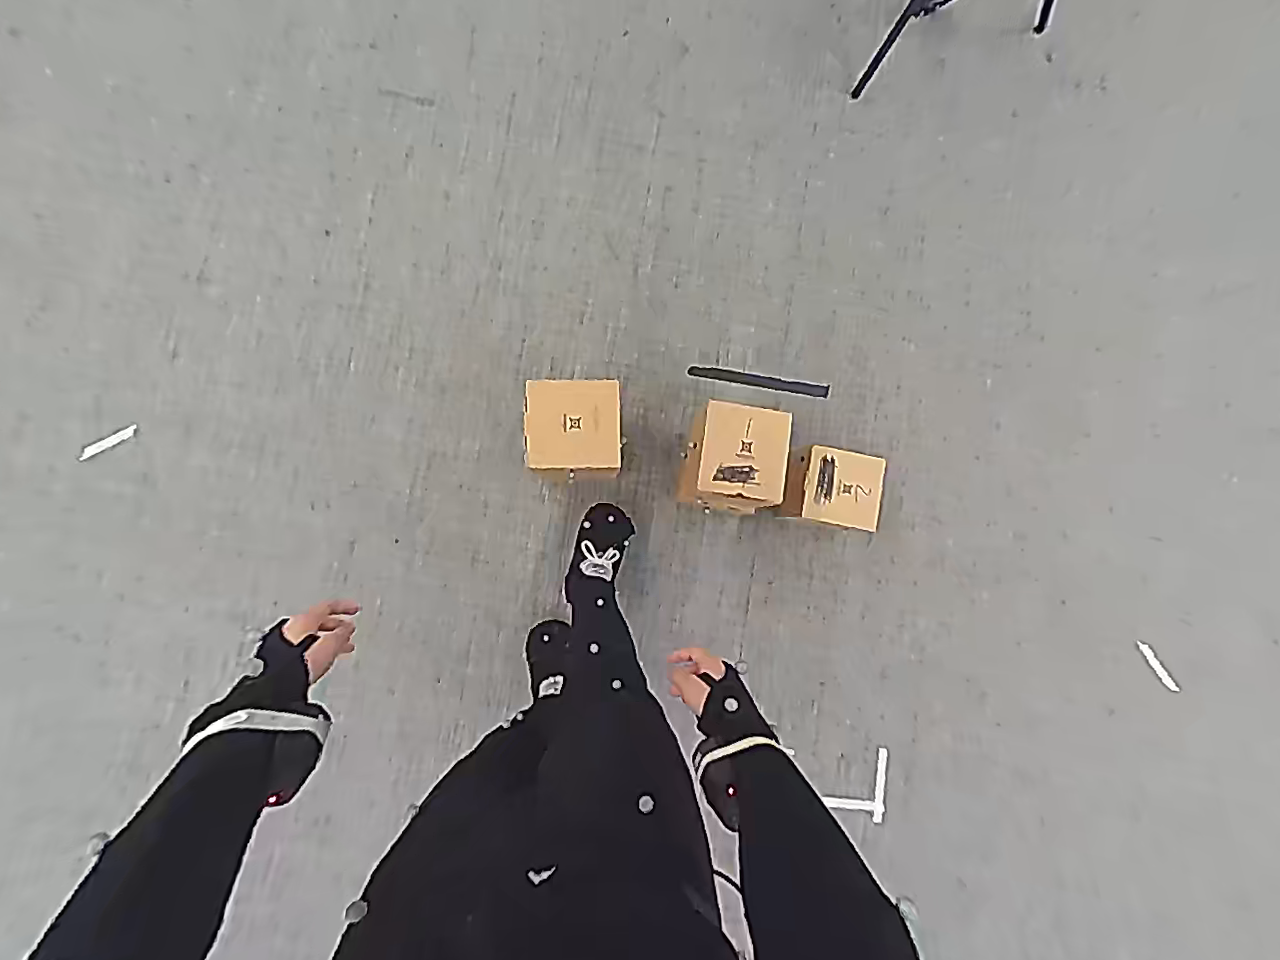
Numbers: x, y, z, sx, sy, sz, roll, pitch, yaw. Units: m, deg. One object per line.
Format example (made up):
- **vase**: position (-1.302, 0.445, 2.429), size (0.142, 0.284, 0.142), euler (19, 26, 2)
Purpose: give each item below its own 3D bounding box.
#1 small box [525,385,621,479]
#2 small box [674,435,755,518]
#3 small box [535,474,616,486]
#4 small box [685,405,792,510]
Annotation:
- **small box**: position (-0.129, -0.089, 1.076), size (0.179, 0.176, 0.168), euler (-1, 87, -5)
- **small box**: position (0.180, -0.013, 1.255), size (0.168, 0.176, 0.179), euler (12, 85, -2)
- **small box**: position (-0.144, -0.075, 1.238), size (0.179, 0.176, 0.168), euler (-2, 86, -3)
- **small box**: position (0.190, -0.037, 1.092), size (0.168, 0.176, 0.179), euler (9, 84, -4)
